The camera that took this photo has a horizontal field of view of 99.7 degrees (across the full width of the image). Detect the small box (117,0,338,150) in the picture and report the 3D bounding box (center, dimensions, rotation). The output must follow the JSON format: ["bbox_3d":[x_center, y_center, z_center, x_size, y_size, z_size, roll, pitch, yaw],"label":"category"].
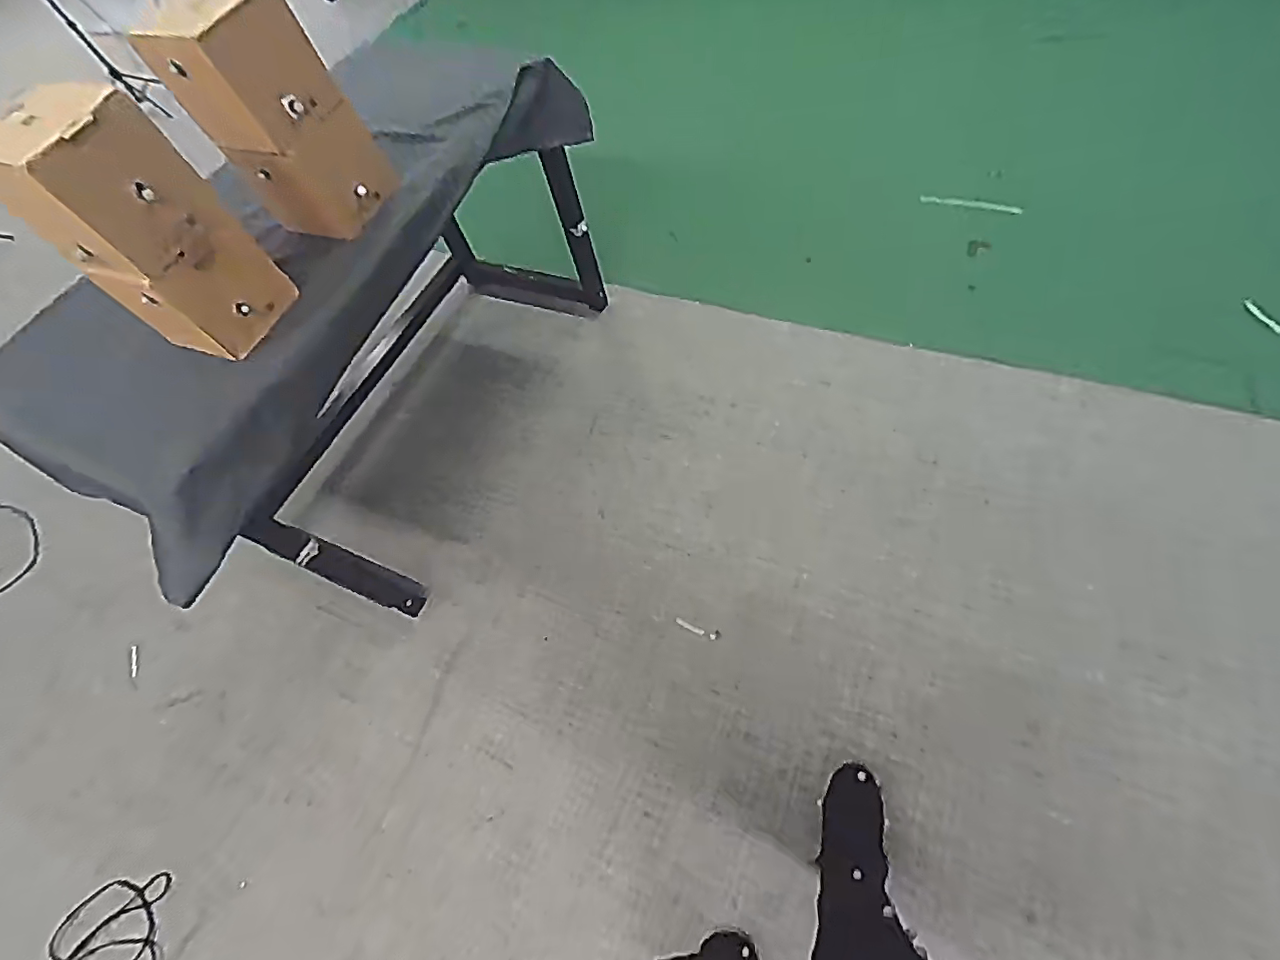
[{"bbox_3d":[-0.628,-0.650,0.846,0.179,0.176,0.168,18,68,19],"label":"small box"}]

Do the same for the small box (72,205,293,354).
[{"bbox_3d":[-0.727,-0.328,0.880,0.179,0.176,0.168,16,65,17],"label":"small box"}]

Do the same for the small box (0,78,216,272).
[{"bbox_3d":[-0.747,-0.408,0.739,0.179,0.176,0.168,15,65,16],"label":"small box"}]

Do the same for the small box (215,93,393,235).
[{"bbox_3d":[-0.601,-0.576,0.988,0.179,0.176,0.168,17,67,18],"label":"small box"}]
